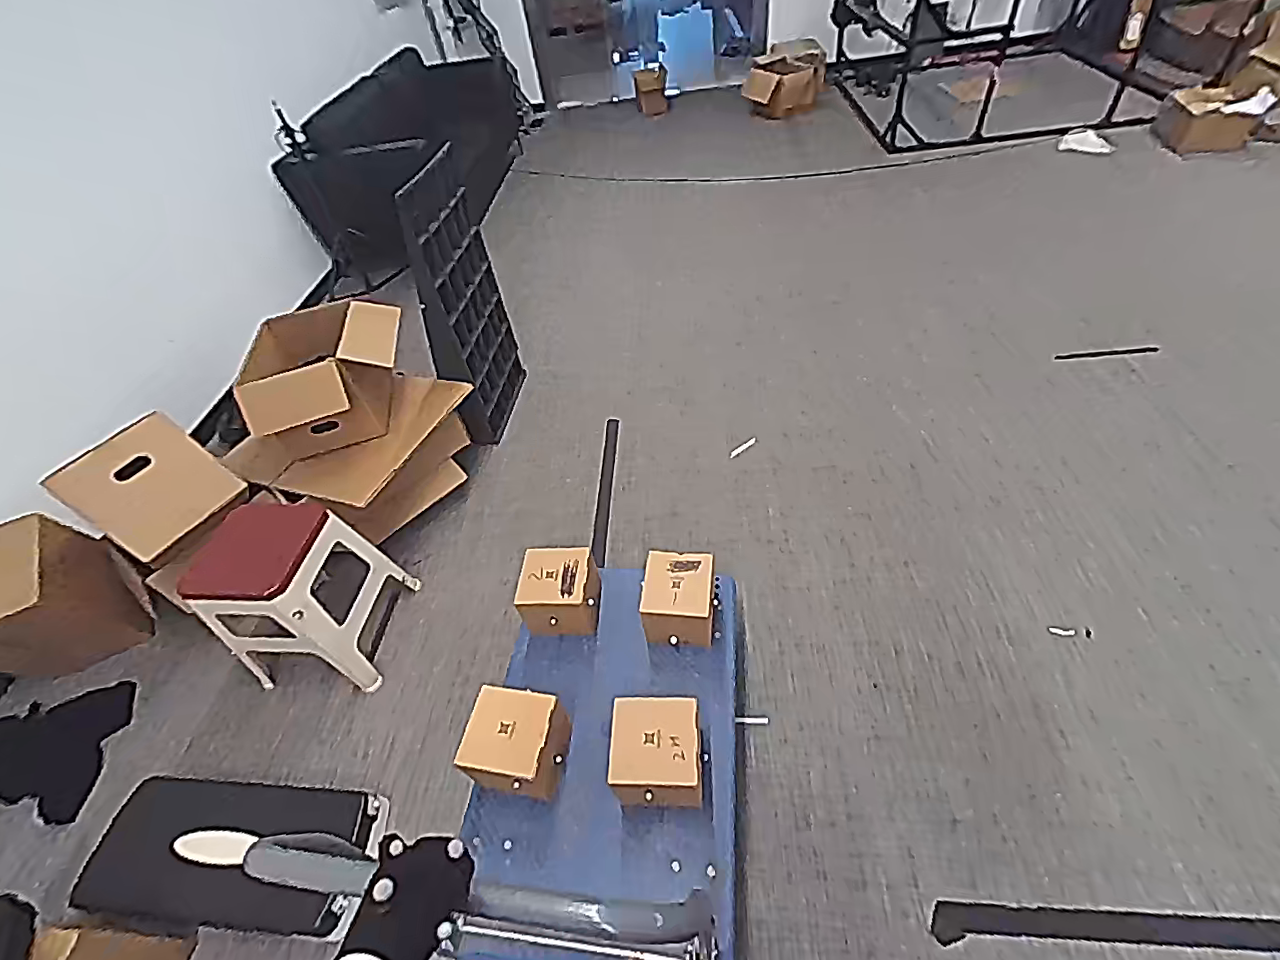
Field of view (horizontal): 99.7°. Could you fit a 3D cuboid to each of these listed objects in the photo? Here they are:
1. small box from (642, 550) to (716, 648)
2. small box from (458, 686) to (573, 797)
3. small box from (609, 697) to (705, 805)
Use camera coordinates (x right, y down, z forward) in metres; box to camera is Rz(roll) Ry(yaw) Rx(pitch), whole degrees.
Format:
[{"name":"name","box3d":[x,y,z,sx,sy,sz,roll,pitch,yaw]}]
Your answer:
[{"name":"small box","box3d":[0.105,0.301,1.368,0.168,0.176,0.179,2,49,12]},{"name":"small box","box3d":[-0.263,0.573,1.182,0.179,0.176,0.168,4,48,11]},{"name":"small box","box3d":[0.042,0.569,1.132,0.179,0.176,0.168,-3,48,8]}]
